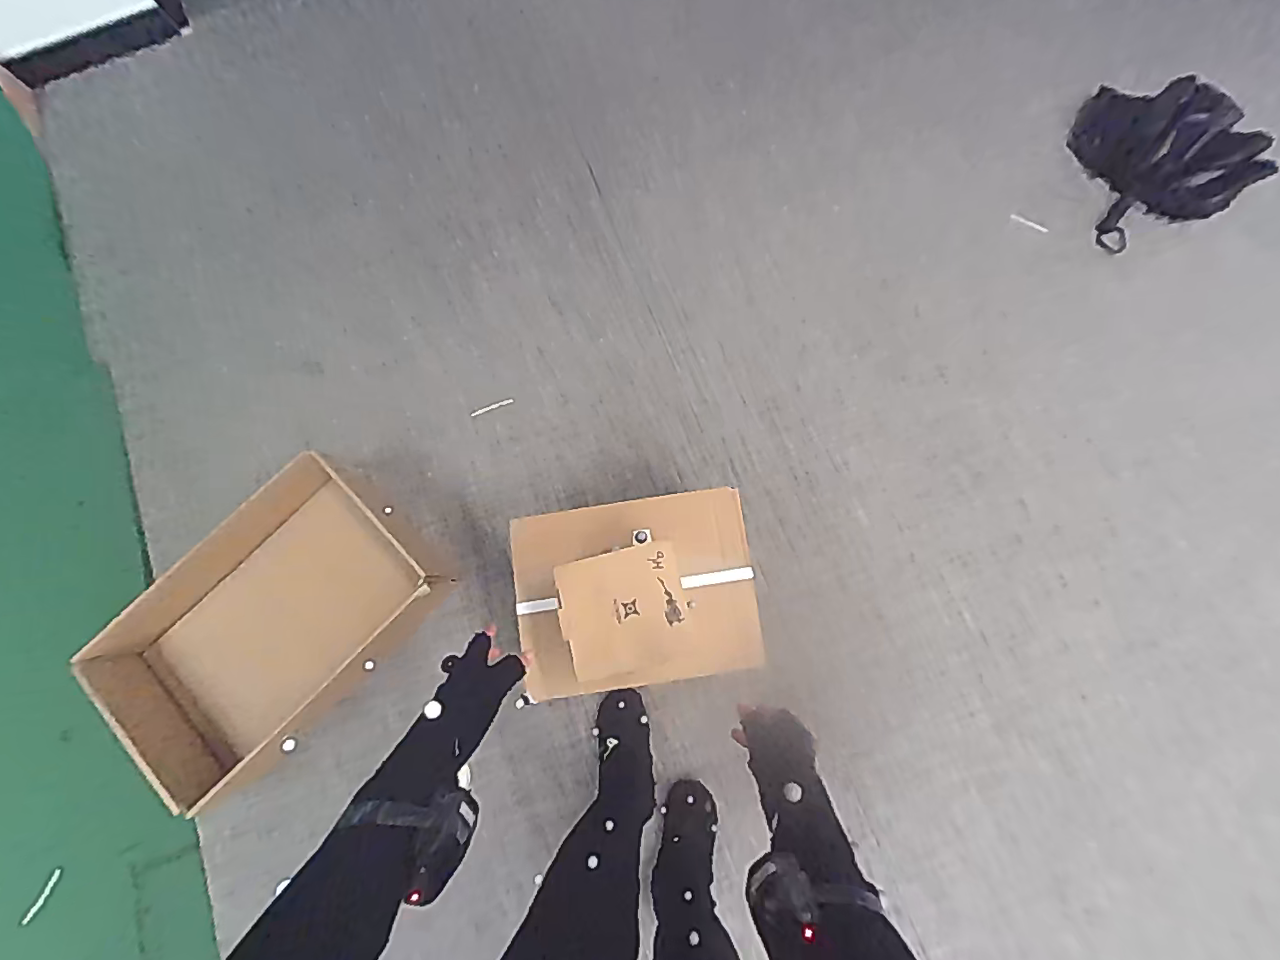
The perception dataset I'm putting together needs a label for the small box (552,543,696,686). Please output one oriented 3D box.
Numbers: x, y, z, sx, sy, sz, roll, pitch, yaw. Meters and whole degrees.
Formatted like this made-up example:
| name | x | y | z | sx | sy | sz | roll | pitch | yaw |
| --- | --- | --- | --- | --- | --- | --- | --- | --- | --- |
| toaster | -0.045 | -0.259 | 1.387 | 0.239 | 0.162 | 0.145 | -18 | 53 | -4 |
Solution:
| name | x | y | z | sx | sy | sz | roll | pitch | yaw |
| --- | --- | --- | --- | --- | --- | --- | --- | --- | --- |
| small box | -0.020 | 0.202 | 0.830 | 0.179 | 0.176 | 0.168 | -14 | 79 | 0 |
